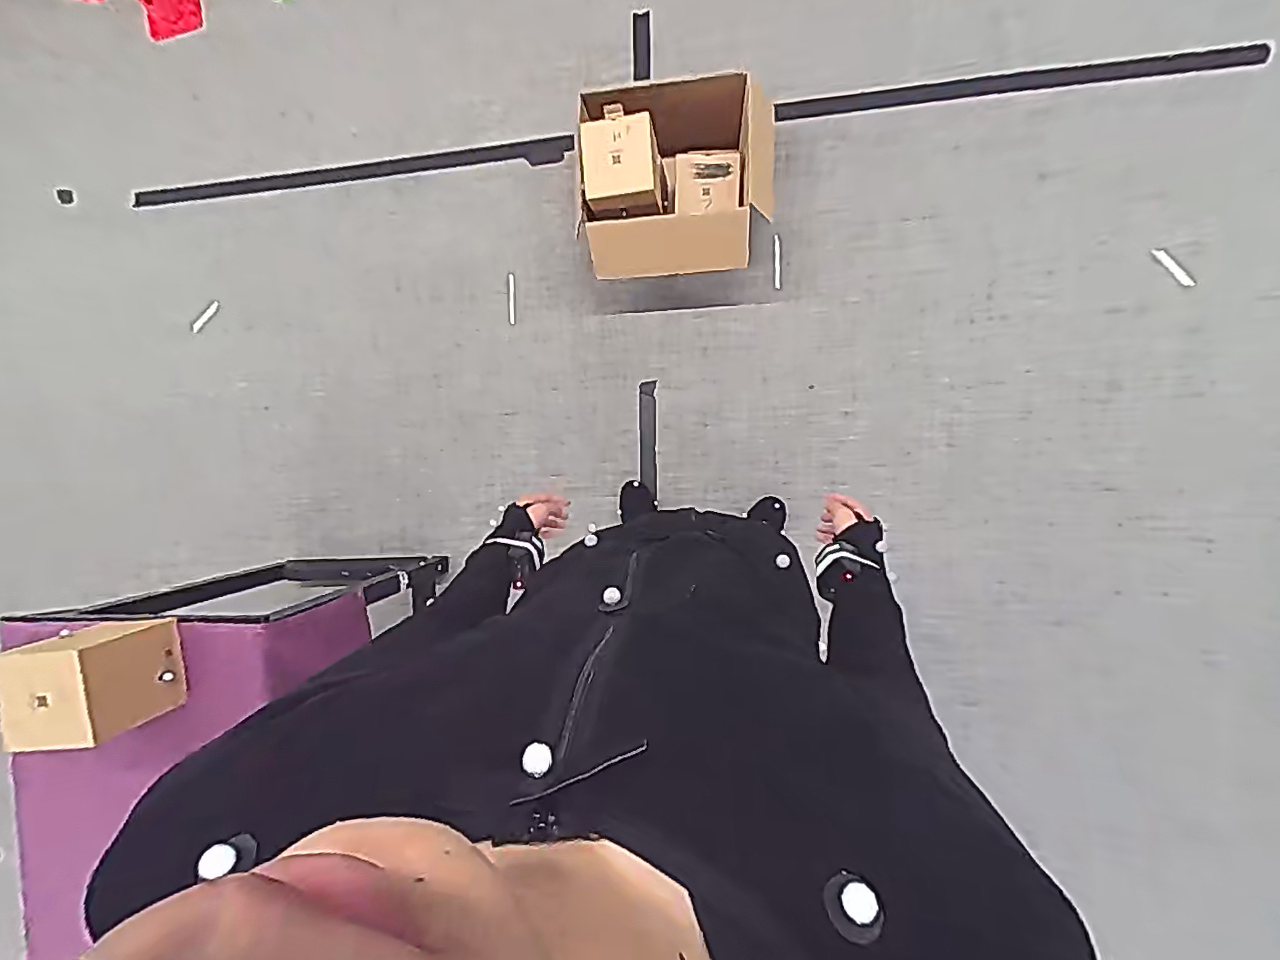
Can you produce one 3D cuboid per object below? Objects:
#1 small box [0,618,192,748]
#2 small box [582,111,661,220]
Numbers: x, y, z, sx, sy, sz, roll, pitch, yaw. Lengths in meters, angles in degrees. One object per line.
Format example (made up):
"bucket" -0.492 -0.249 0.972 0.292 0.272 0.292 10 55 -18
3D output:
"small box" -0.963 0.355 0.968 0.179 0.176 0.168 -6 94 9
"small box" -0.041 -0.761 1.332 0.168 0.176 0.179 -3 93 8
